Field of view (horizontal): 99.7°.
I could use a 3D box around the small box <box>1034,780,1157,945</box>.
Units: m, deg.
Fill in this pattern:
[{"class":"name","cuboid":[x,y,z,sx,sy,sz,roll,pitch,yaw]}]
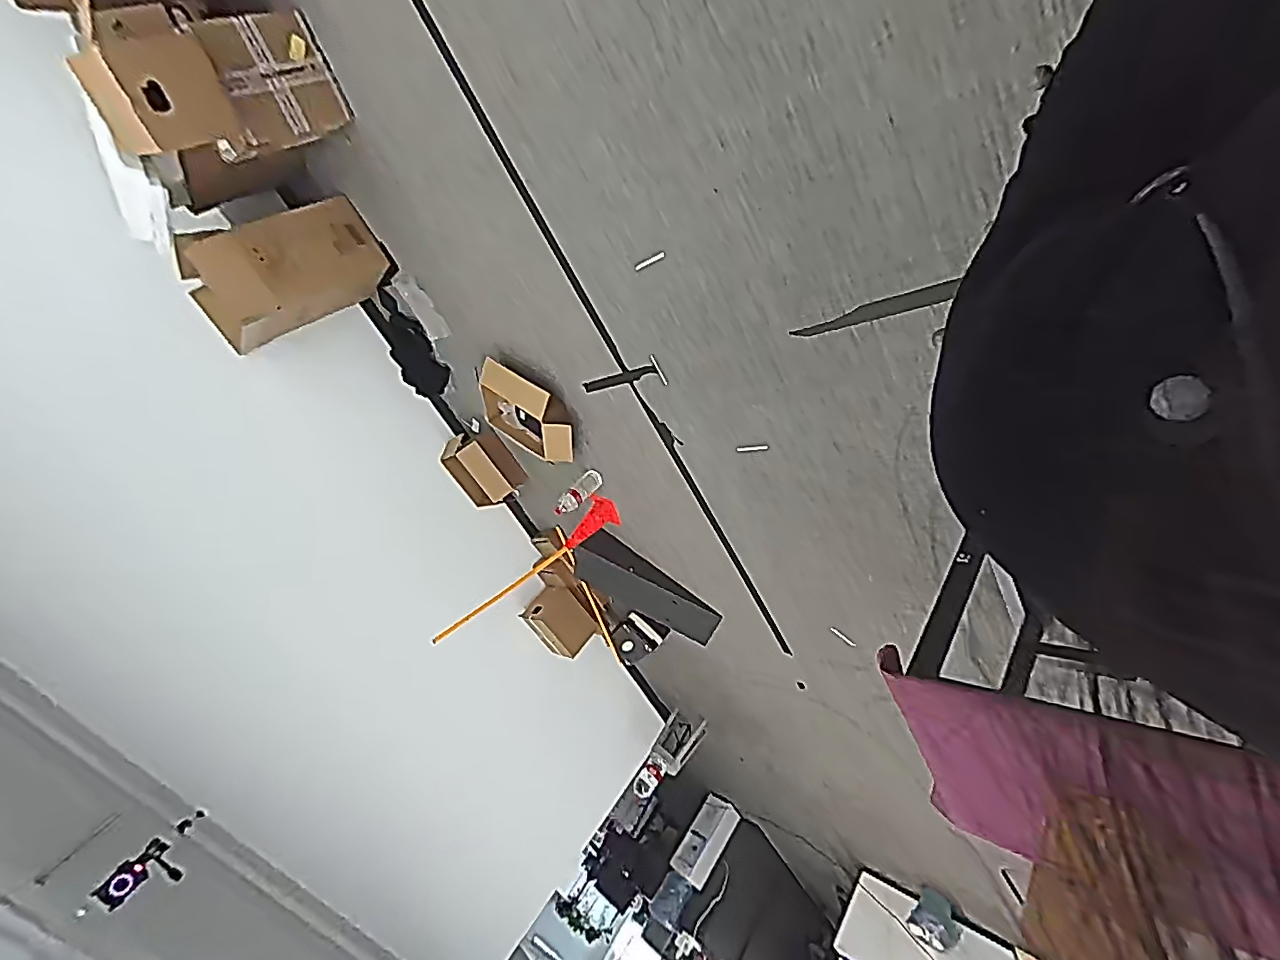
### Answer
[{"class":"small box","cuboid":[0.894,0.737,1.058,0.168,0.176,0.179,3,130,46]}]
